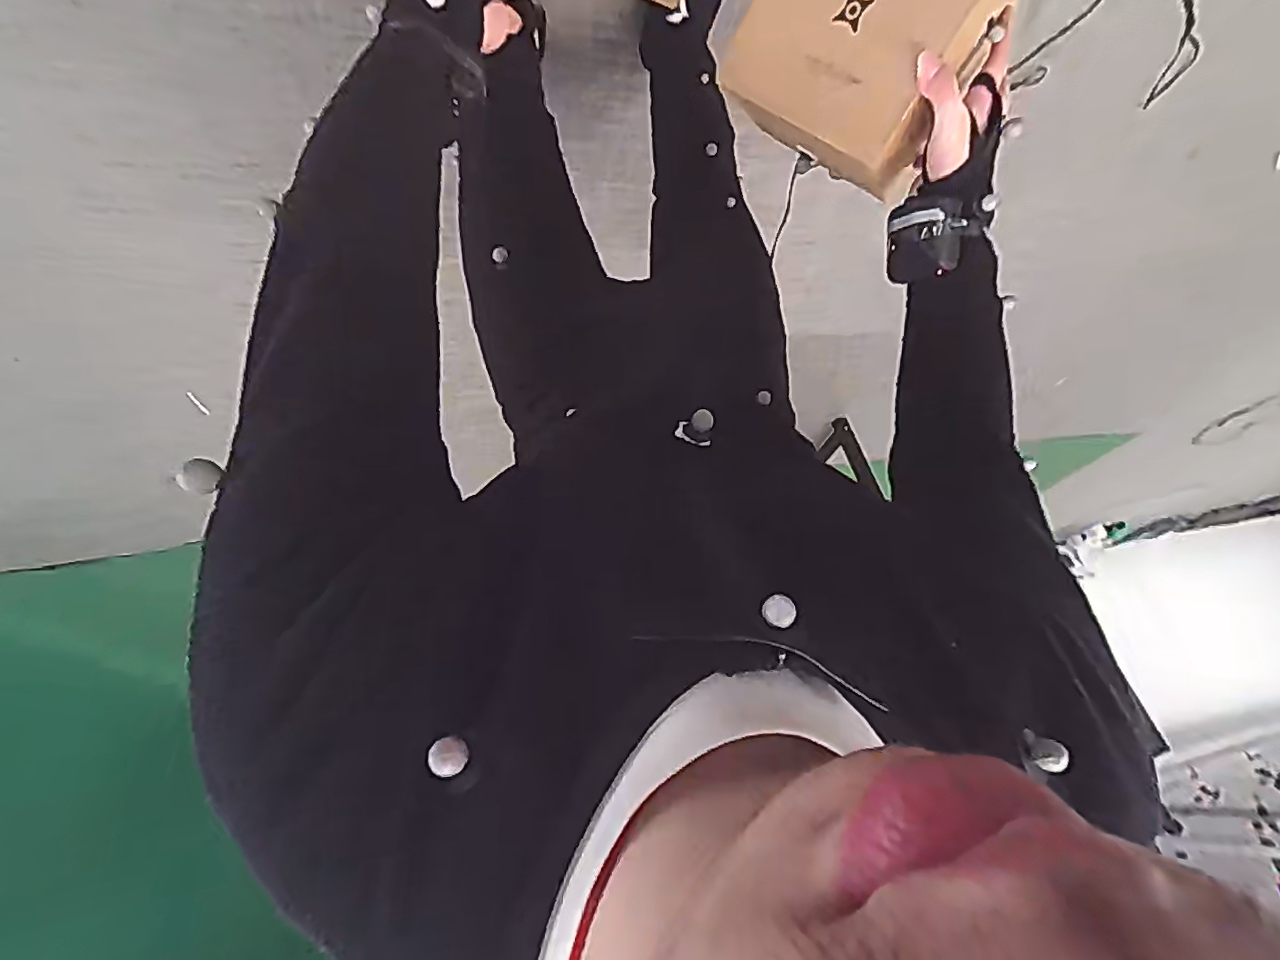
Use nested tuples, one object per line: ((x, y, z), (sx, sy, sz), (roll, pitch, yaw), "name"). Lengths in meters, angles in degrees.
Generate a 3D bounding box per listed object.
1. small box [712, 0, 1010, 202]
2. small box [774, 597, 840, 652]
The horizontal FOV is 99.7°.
((0.200, -0.387, 0.483), (0.179, 0.168, 0.176), (-55, 164, 27), "small box")
((0.668, 0.579, 2.185), (0.168, 0.176, 0.179), (-6, 153, -18), "small box")
